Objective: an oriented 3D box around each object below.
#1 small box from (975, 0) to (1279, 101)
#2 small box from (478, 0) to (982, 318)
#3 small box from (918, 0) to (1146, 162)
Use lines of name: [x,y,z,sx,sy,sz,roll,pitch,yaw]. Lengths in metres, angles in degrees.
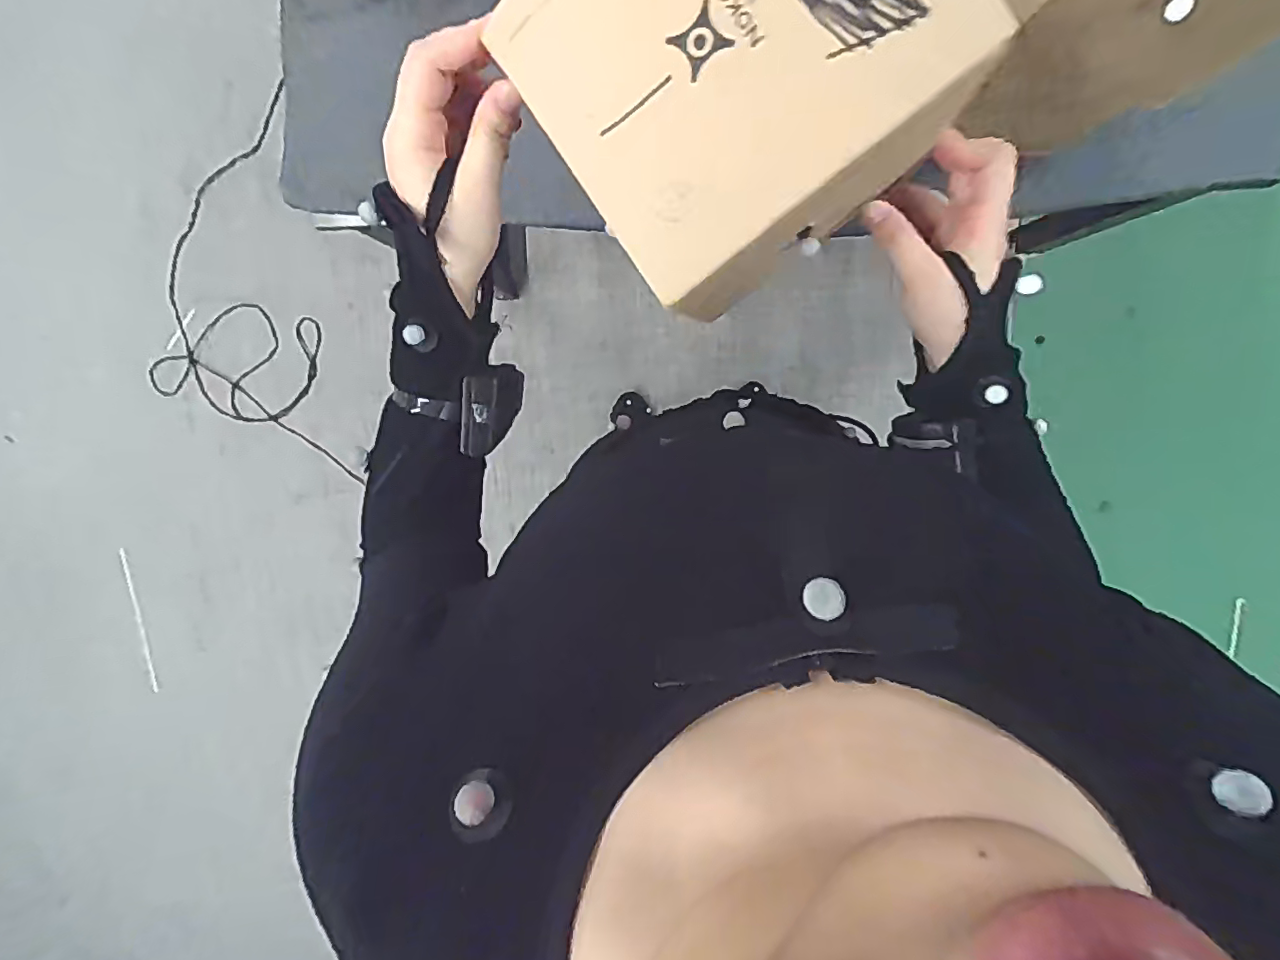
small box: [0.400,-0.422,0.406,0.179,0.176,0.168,11,99,3]
small box: [0.049,-0.218,0.321,0.179,0.176,0.168,-34,91,19]
small box: [0.410,-0.462,0.564,0.168,0.176,0.179,0,99,4]
